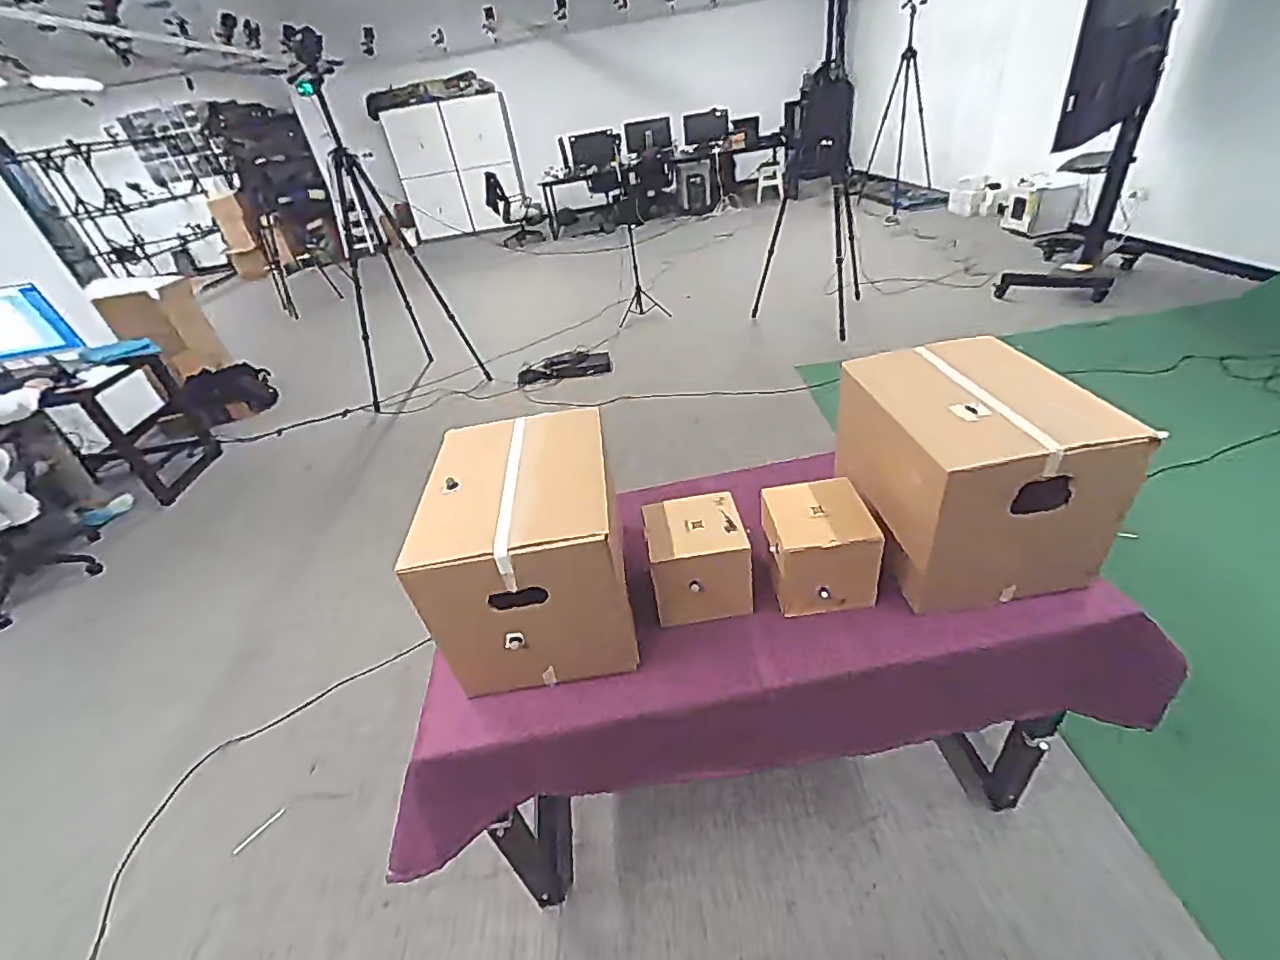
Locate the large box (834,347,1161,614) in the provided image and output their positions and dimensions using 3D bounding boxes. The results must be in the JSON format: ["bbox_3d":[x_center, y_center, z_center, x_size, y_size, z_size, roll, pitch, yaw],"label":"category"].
[{"bbox_3d":[0.602,-0.016,1.024,0.320,0.320,0.408,-9,36,1],"label":"large box"}]
